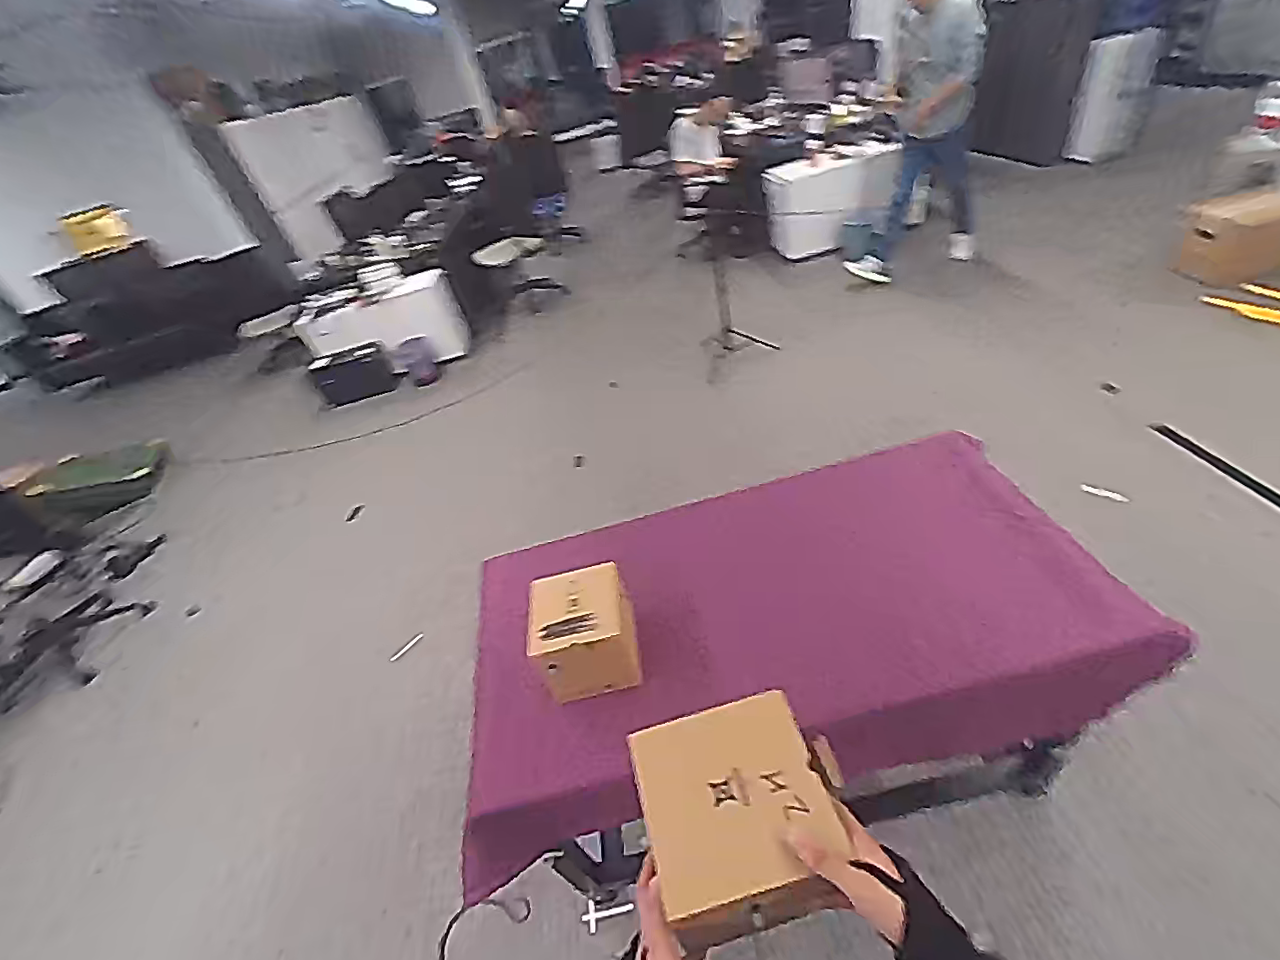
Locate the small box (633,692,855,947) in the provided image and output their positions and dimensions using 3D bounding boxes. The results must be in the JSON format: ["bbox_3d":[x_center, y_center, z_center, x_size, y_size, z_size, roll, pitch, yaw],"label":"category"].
[{"bbox_3d":[0.103,0.363,0.578,0.179,0.176,0.168,-14,41,-4],"label":"small box"}]
